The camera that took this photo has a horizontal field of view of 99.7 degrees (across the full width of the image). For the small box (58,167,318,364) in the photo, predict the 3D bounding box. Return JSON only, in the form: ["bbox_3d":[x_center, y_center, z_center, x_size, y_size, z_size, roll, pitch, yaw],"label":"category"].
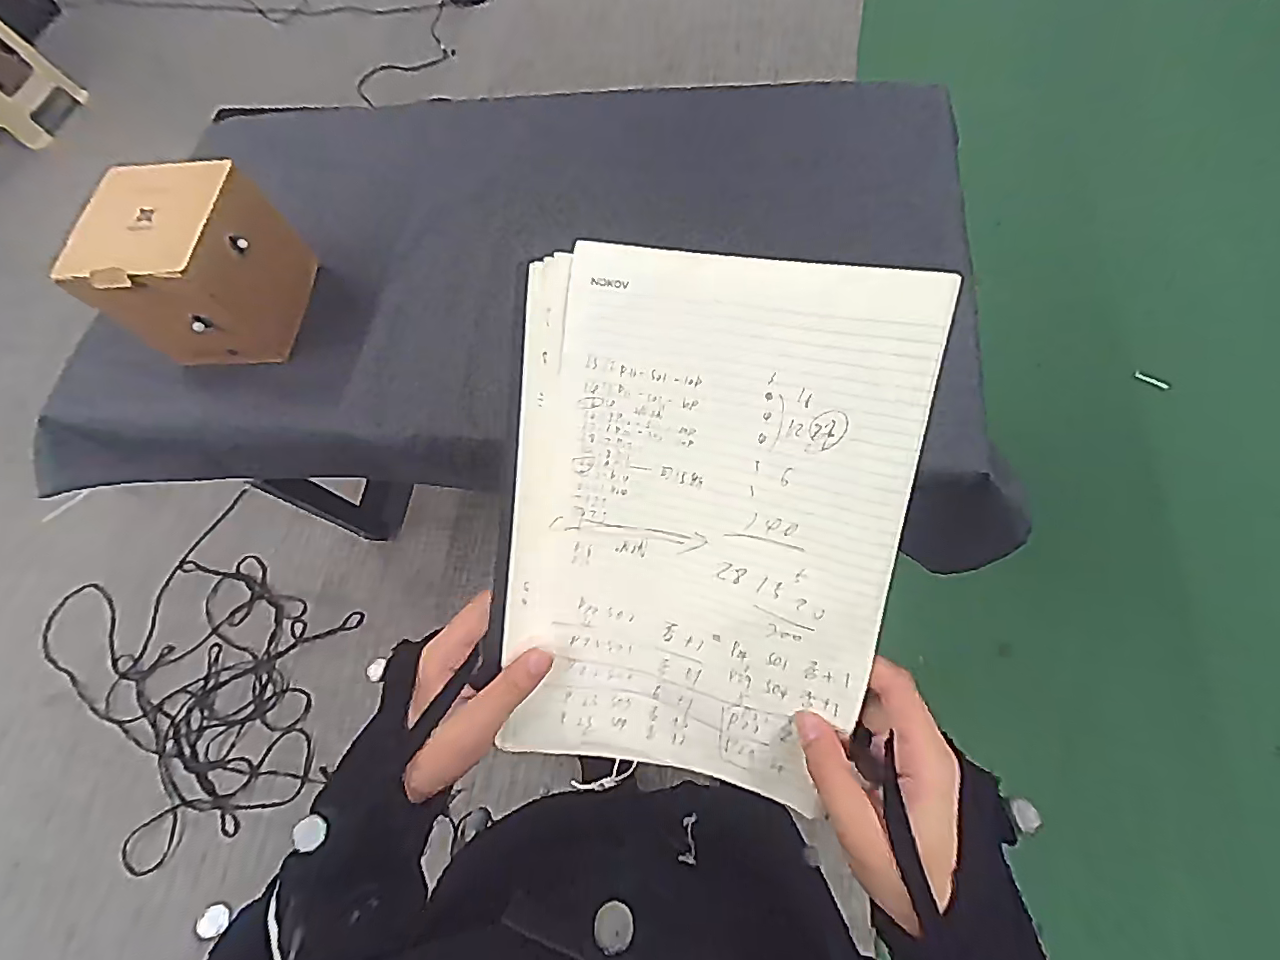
[{"bbox_3d":[-0.557,-0.264,0.698,0.168,0.176,0.179,0,66,5],"label":"small box"}]
